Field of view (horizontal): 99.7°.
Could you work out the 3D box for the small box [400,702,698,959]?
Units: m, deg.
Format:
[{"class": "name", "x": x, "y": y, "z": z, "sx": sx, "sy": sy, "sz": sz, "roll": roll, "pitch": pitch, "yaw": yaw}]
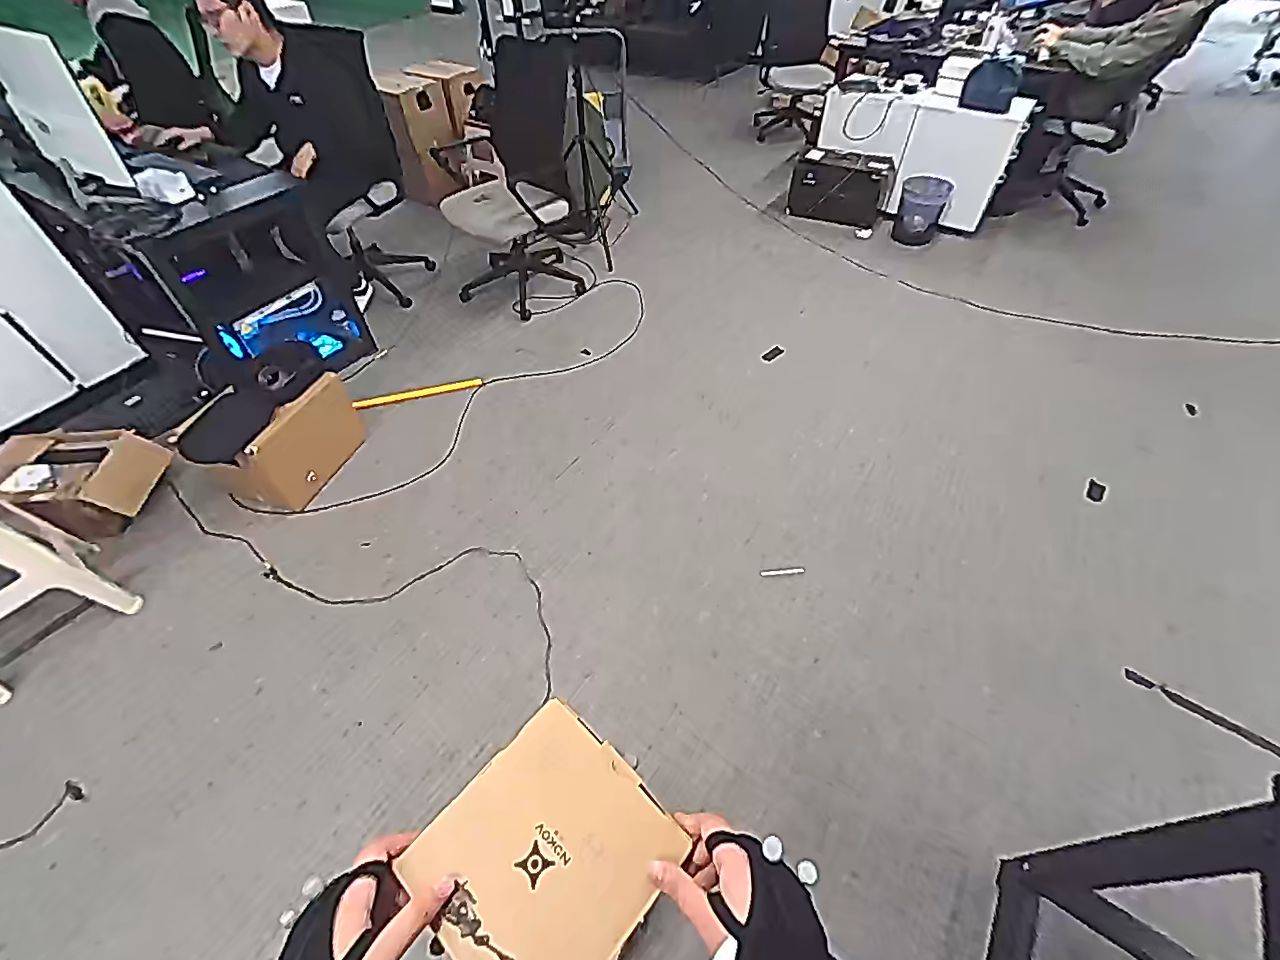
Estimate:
[{"class": "small box", "x": -0.071, "y": 0.338, "z": 0.488, "sx": 0.168, "sy": 0.176, "sz": 0.179, "roll": 38, "pitch": 65, "yaw": 22}]
